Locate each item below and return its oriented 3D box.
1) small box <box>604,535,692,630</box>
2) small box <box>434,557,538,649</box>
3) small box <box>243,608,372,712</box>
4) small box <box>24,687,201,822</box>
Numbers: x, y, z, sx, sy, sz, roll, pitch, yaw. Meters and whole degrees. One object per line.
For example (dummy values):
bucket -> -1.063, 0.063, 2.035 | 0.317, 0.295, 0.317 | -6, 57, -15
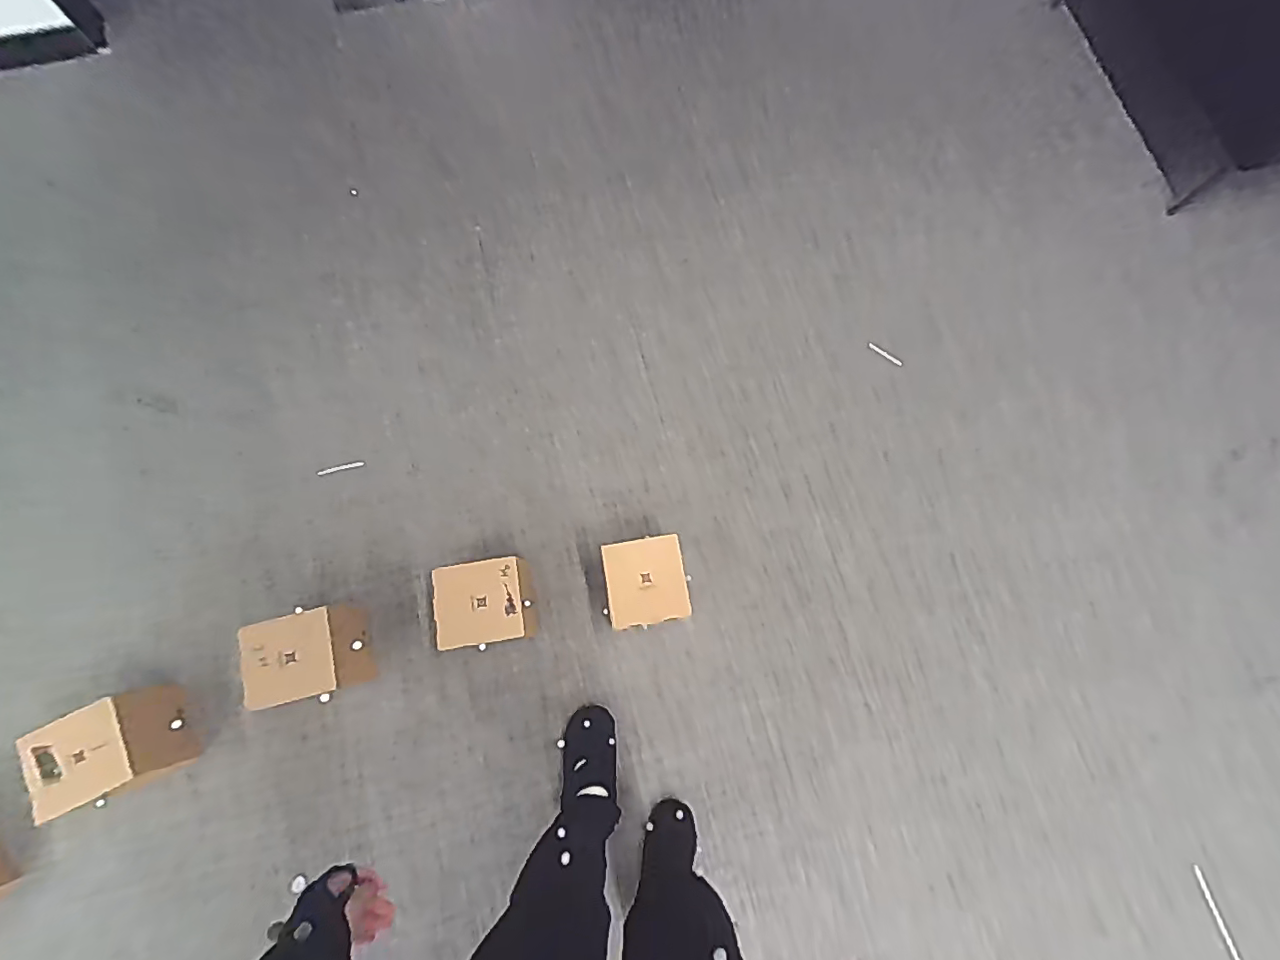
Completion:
small box -> 0.011, 0.231, 1.199 | 0.168, 0.176, 0.179 | -9, 77, -4
small box -> -0.328, 0.269, 1.176 | 0.179, 0.176, 0.168 | -9, 77, -3
small box -> -0.687, 0.369, 1.138 | 0.179, 0.176, 0.168 | -14, 76, -5
small box -> -1.045, 0.537, 1.084 | 0.179, 0.176, 0.168 | -26, 78, -9
